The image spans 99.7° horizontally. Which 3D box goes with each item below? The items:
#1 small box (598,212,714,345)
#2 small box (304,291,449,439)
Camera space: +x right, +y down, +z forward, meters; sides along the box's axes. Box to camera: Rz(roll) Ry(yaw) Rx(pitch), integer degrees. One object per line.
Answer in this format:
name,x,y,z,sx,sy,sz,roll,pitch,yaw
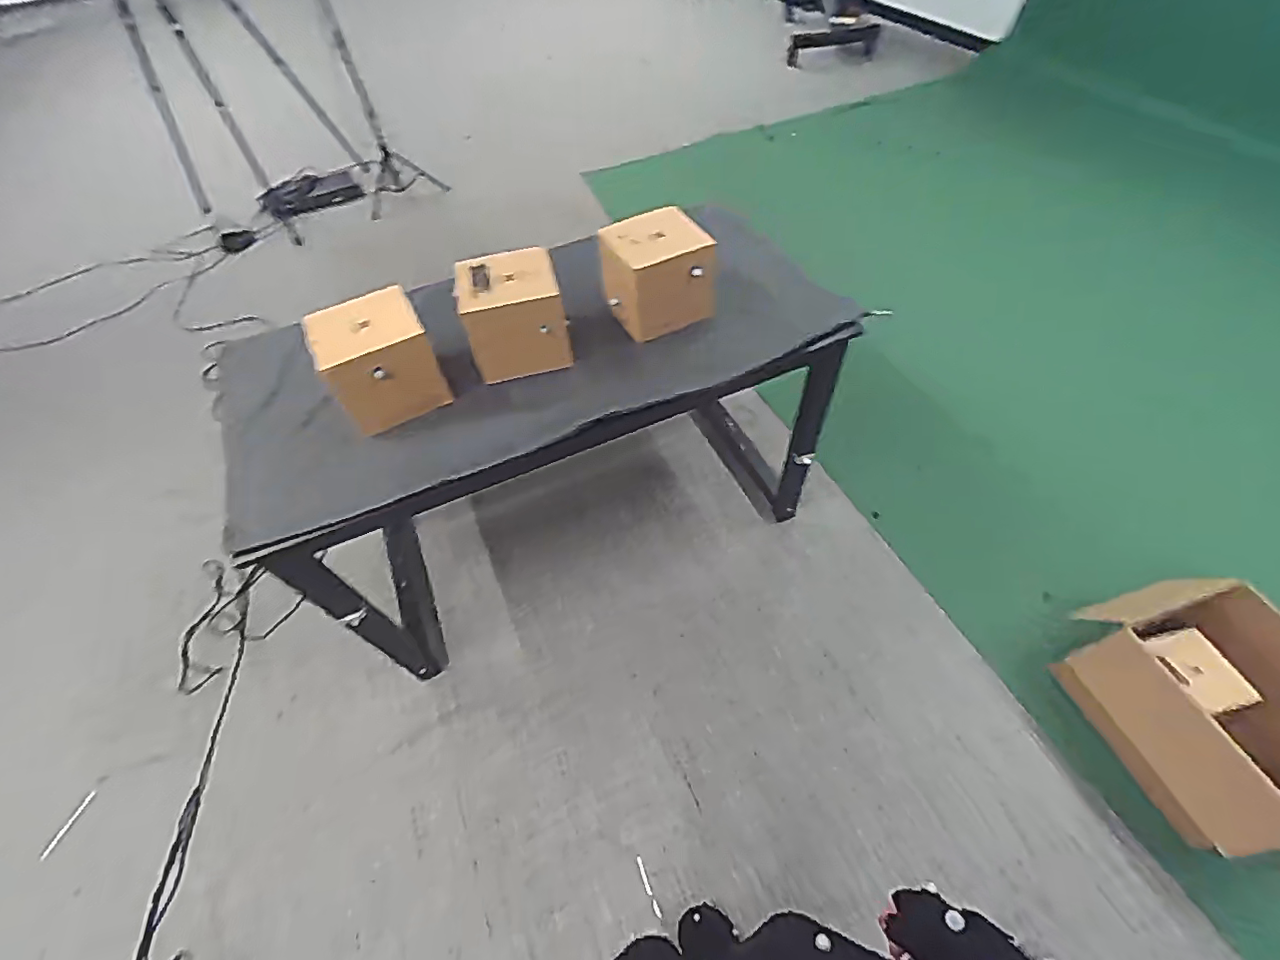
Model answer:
small box,0.032,-0.408,1.100,0.179,0.176,0.168,-24,55,-13
small box,-0.472,-0.208,0.994,0.179,0.176,0.168,-27,57,-15
